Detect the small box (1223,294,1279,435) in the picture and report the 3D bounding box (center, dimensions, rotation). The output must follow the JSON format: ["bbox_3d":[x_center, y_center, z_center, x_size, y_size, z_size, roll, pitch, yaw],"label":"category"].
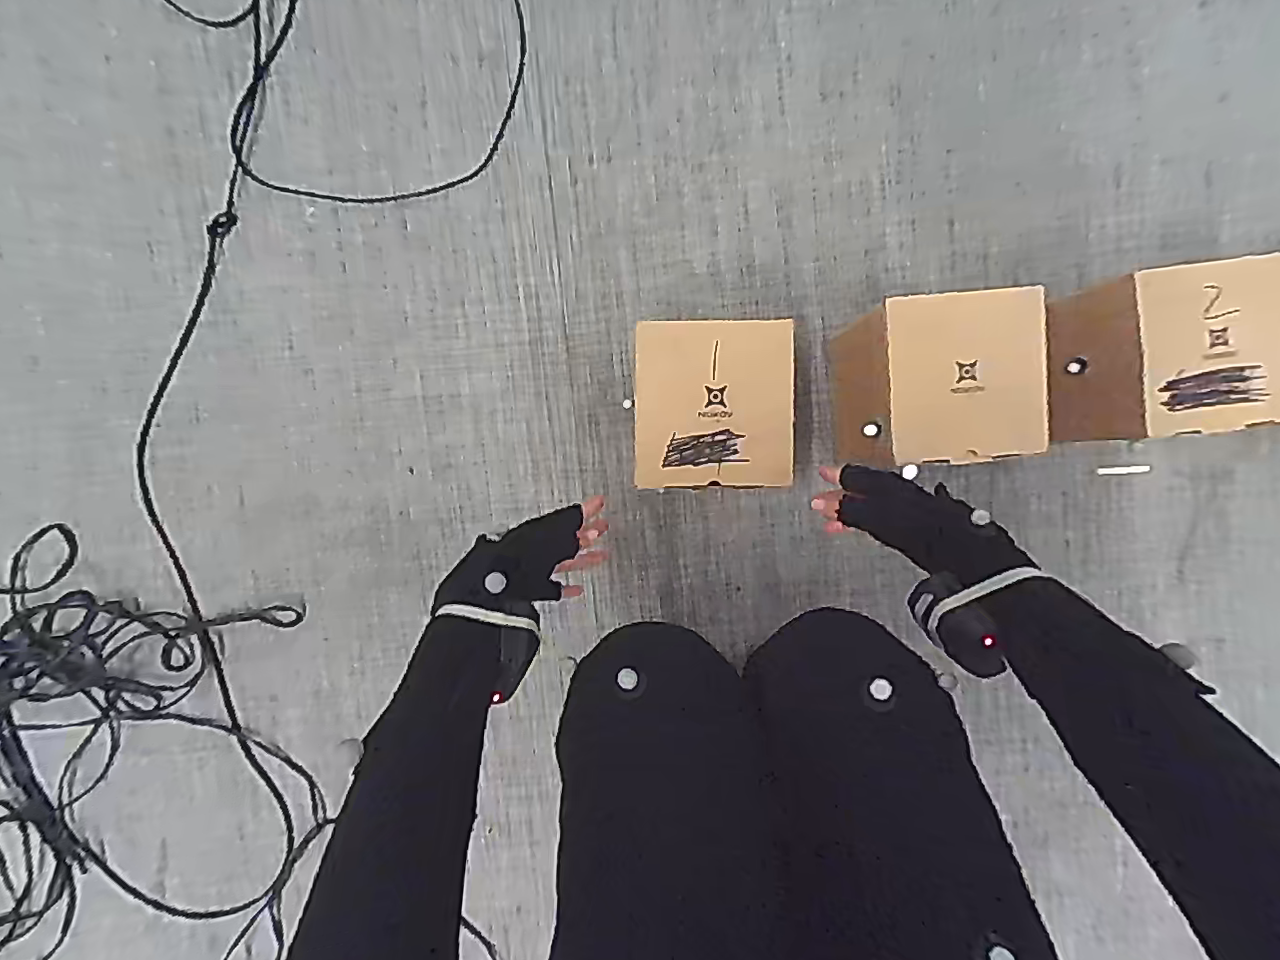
[{"bbox_3d":[0.866,-0.148,0.649,0.168,0.176,0.179,-4,94,1],"label":"small box"}]

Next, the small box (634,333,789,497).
[{"bbox_3d":[0.078,-0.074,0.656,0.168,0.176,0.179,0,93,1],"label":"small box"}]

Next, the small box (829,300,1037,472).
[{"bbox_3d":[0.338,-0.103,0.654,0.168,0.176,0.179,-4,93,2],"label":"small box"}]
